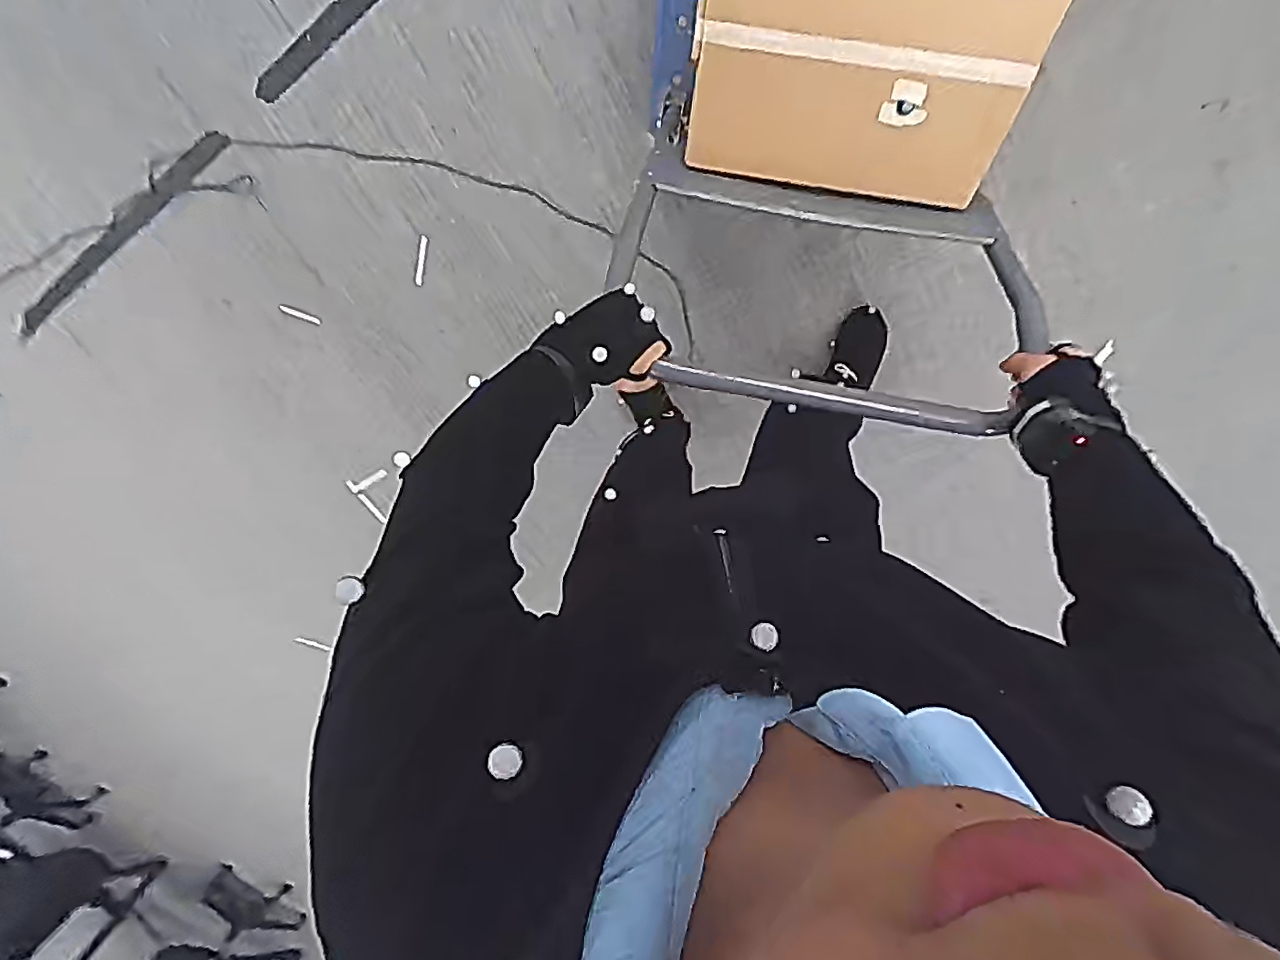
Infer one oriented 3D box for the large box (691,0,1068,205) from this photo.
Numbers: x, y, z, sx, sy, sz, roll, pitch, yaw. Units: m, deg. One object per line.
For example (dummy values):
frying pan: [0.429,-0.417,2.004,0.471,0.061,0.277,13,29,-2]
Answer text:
large box: [0.298,-0.629,0.765,0.408,0.320,0.320,10,138,2]
